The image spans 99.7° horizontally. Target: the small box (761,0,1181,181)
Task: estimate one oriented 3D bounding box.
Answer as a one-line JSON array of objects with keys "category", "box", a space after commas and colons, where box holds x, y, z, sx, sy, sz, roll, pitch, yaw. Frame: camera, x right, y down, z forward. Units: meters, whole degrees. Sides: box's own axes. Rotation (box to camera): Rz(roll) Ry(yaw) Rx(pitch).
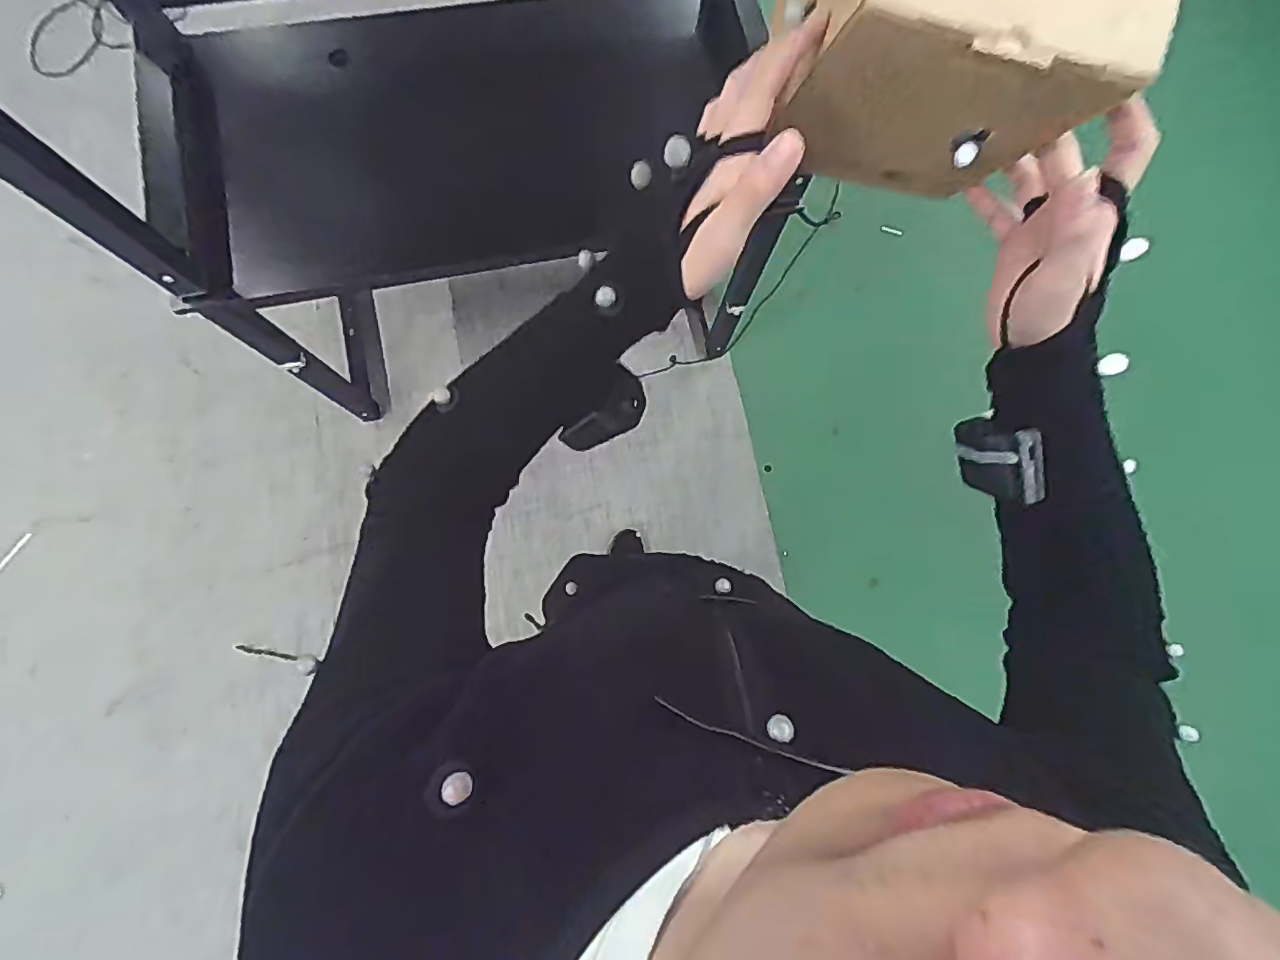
[{"category": "small box", "box": [0.185, -0.312, 0.327, 0.168, 0.176, 0.179, 8, 98, -8]}]
